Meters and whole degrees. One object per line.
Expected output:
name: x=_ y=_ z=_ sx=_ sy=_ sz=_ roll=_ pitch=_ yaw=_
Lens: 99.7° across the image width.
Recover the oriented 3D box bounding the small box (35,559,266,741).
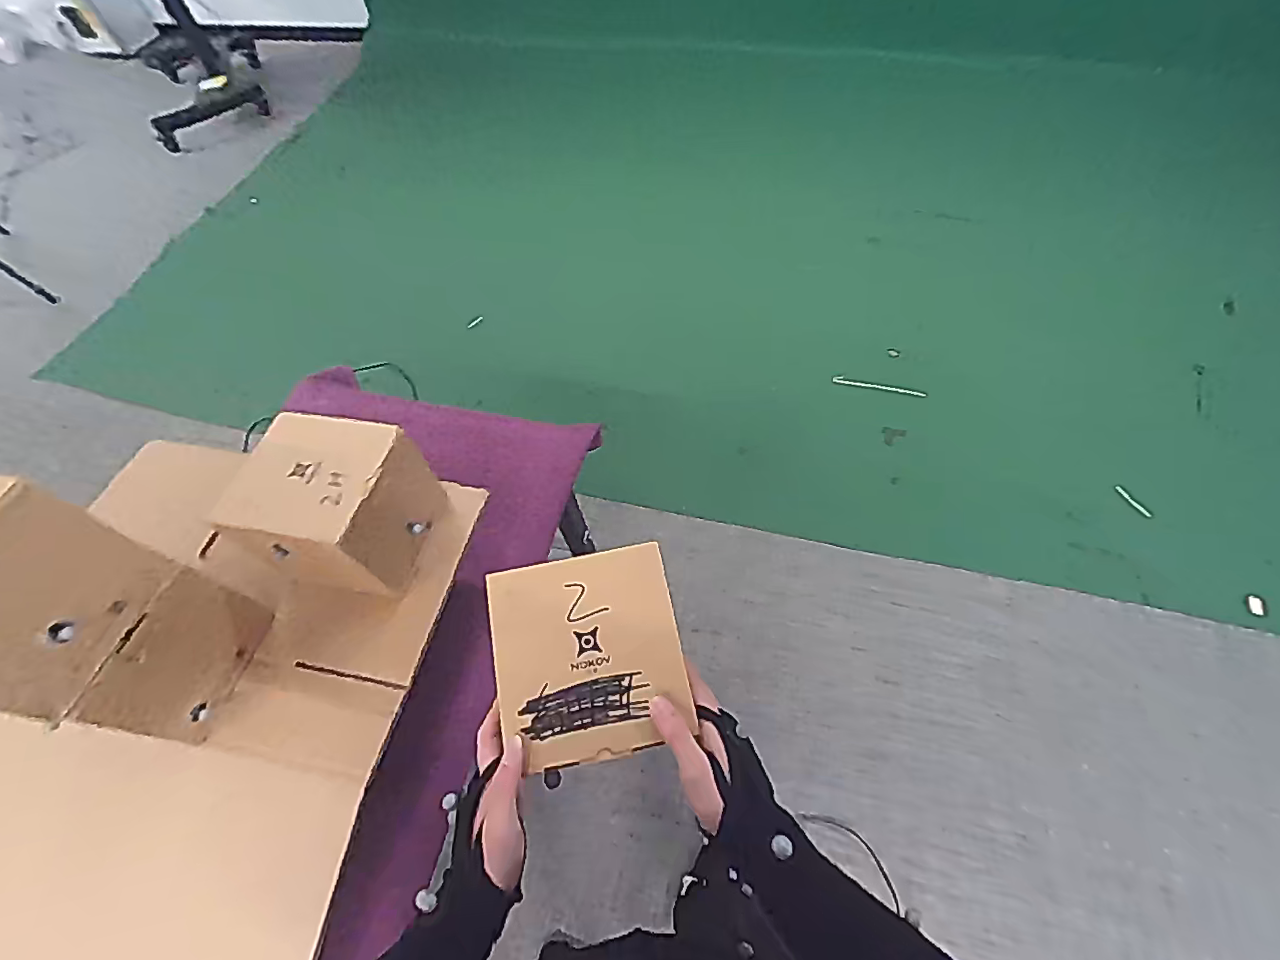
small box: x=-0.586 y=0.188 z=0.617 sx=0.179 sy=0.176 sz=0.168 roll=7 pitch=57 yaw=9

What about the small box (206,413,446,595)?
small box: x=-0.387 y=0.036 z=0.704 sx=0.179 sy=0.176 sz=0.168 roll=8 pitch=58 yaw=9

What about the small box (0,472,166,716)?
small box: x=-0.603 y=0.098 z=0.483 sx=0.179 sy=0.176 sz=0.168 roll=7 pitch=56 yaw=8
